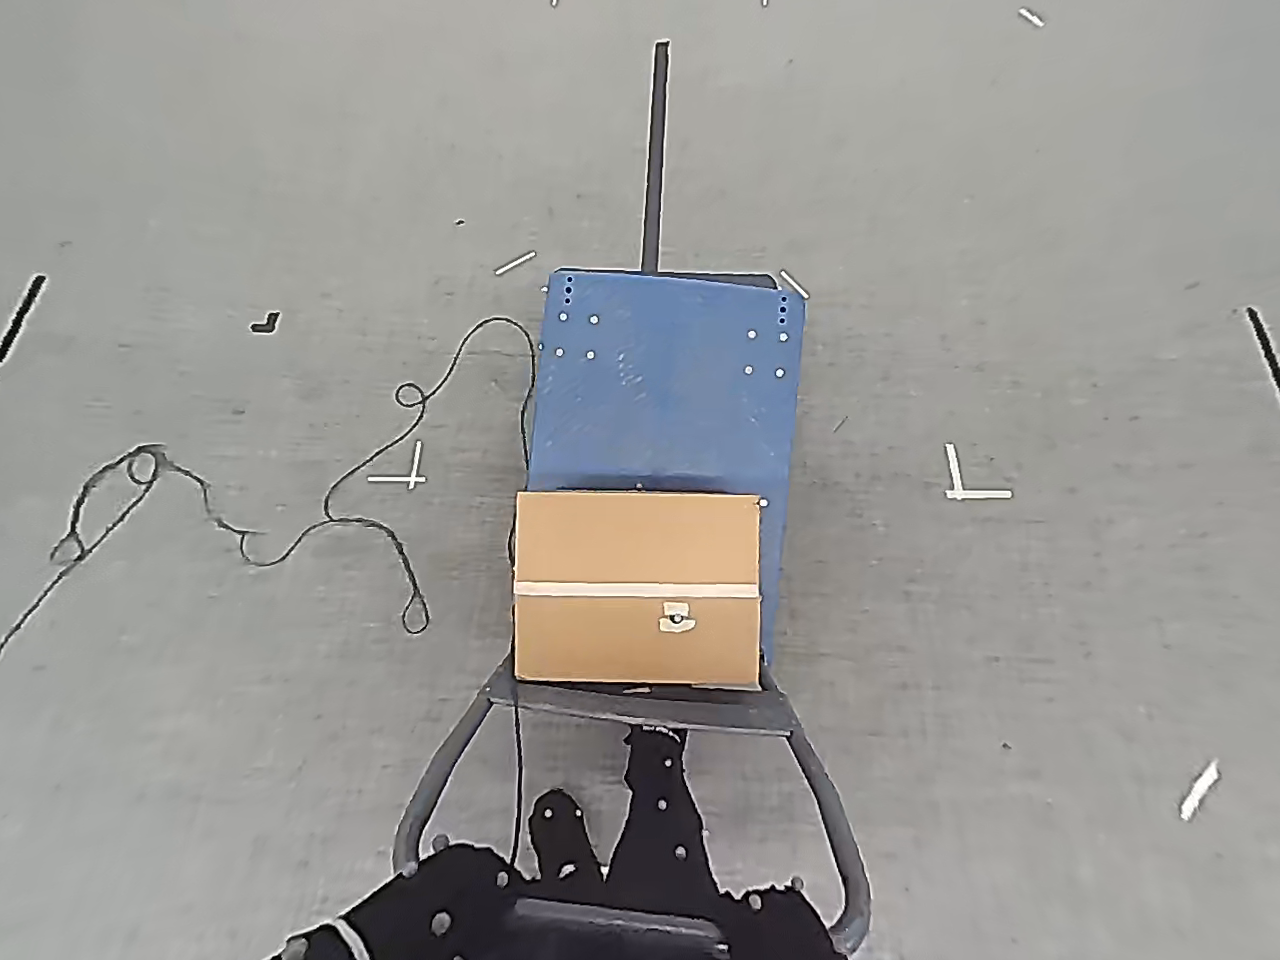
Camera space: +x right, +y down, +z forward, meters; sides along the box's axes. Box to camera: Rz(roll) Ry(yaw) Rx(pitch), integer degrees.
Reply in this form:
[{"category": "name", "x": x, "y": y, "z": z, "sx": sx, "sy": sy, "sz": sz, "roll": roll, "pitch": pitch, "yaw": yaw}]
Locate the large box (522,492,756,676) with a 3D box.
[{"category": "large box", "x": -0.003, "y": 0.181, "z": 1.065, "sx": 0.408, "sy": 0.320, "sz": 0.320, "roll": 1, "pitch": 90, "yaw": 0}]
